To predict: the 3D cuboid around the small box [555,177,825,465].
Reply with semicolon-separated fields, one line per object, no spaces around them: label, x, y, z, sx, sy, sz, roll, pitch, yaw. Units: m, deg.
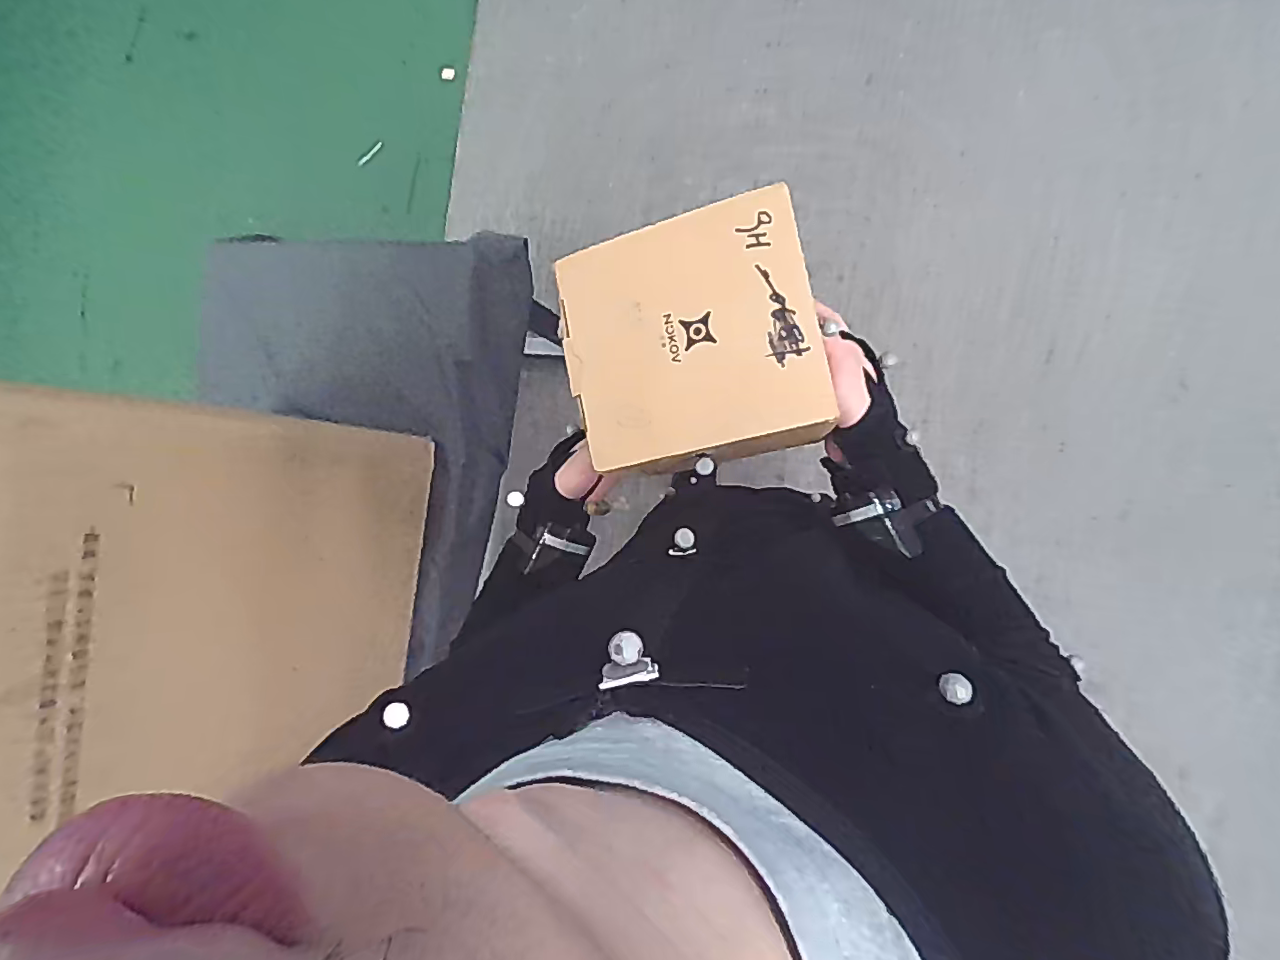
small box;0.051;-0.108;0.456;0.179;0.176;0.168;-10;86;15
